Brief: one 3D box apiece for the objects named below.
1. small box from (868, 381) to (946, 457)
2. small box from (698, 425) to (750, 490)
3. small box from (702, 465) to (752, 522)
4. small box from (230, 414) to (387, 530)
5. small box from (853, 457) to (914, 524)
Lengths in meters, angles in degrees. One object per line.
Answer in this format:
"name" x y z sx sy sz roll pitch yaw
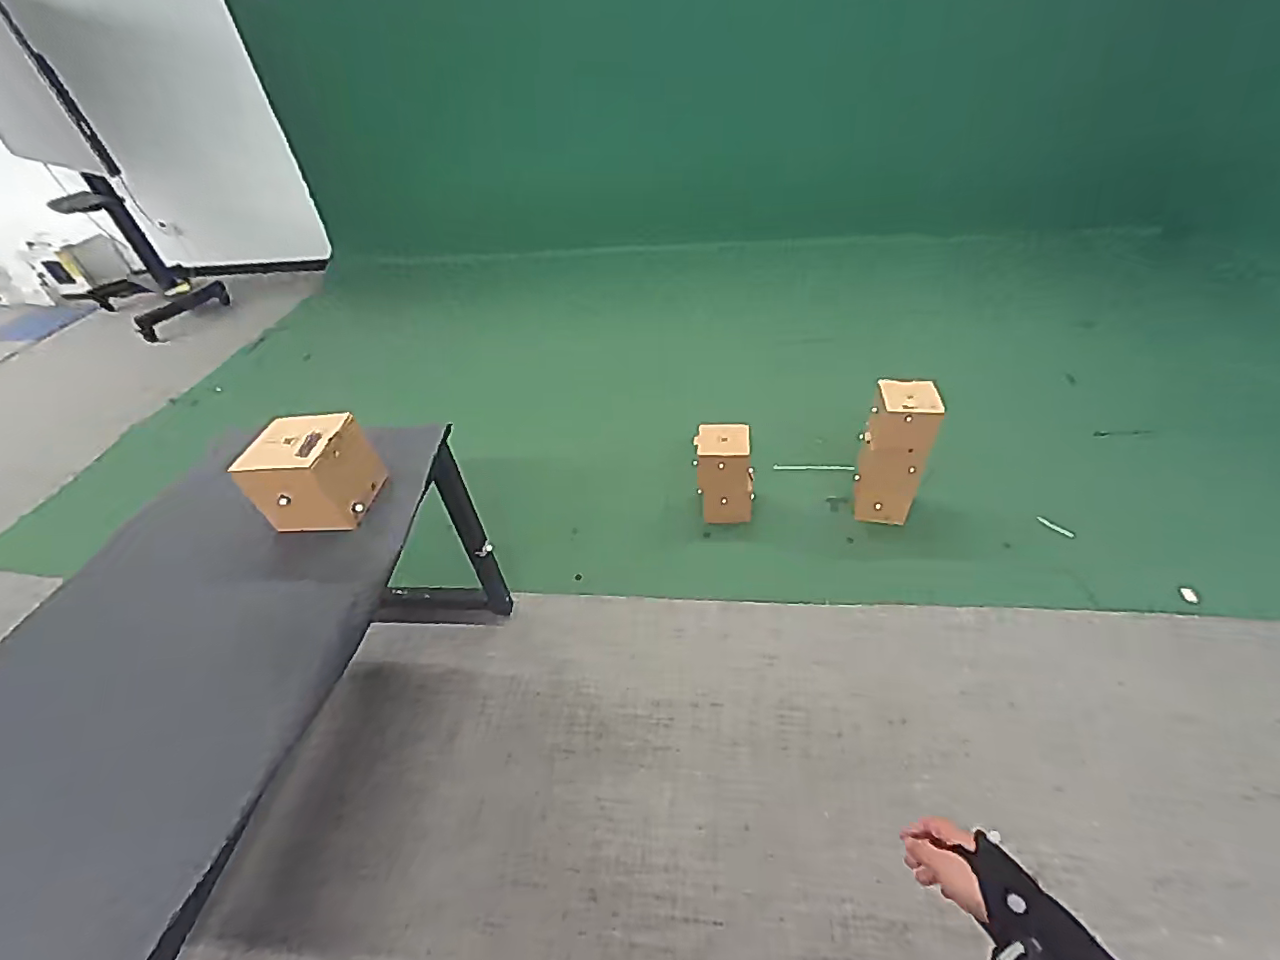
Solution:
"small box" 0.839 -0.196 1.718 0.168 0.176 0.179 4 42 9
"small box" 0.294 -0.078 1.892 0.179 0.176 0.168 2 44 8
"small box" 0.319 0.041 2.001 0.179 0.176 0.168 0 44 6
"small box" -0.645 -0.013 1.082 0.179 0.176 0.168 -2 43 9
"small box" 0.870 0.039 1.946 0.168 0.176 0.179 6 43 12
